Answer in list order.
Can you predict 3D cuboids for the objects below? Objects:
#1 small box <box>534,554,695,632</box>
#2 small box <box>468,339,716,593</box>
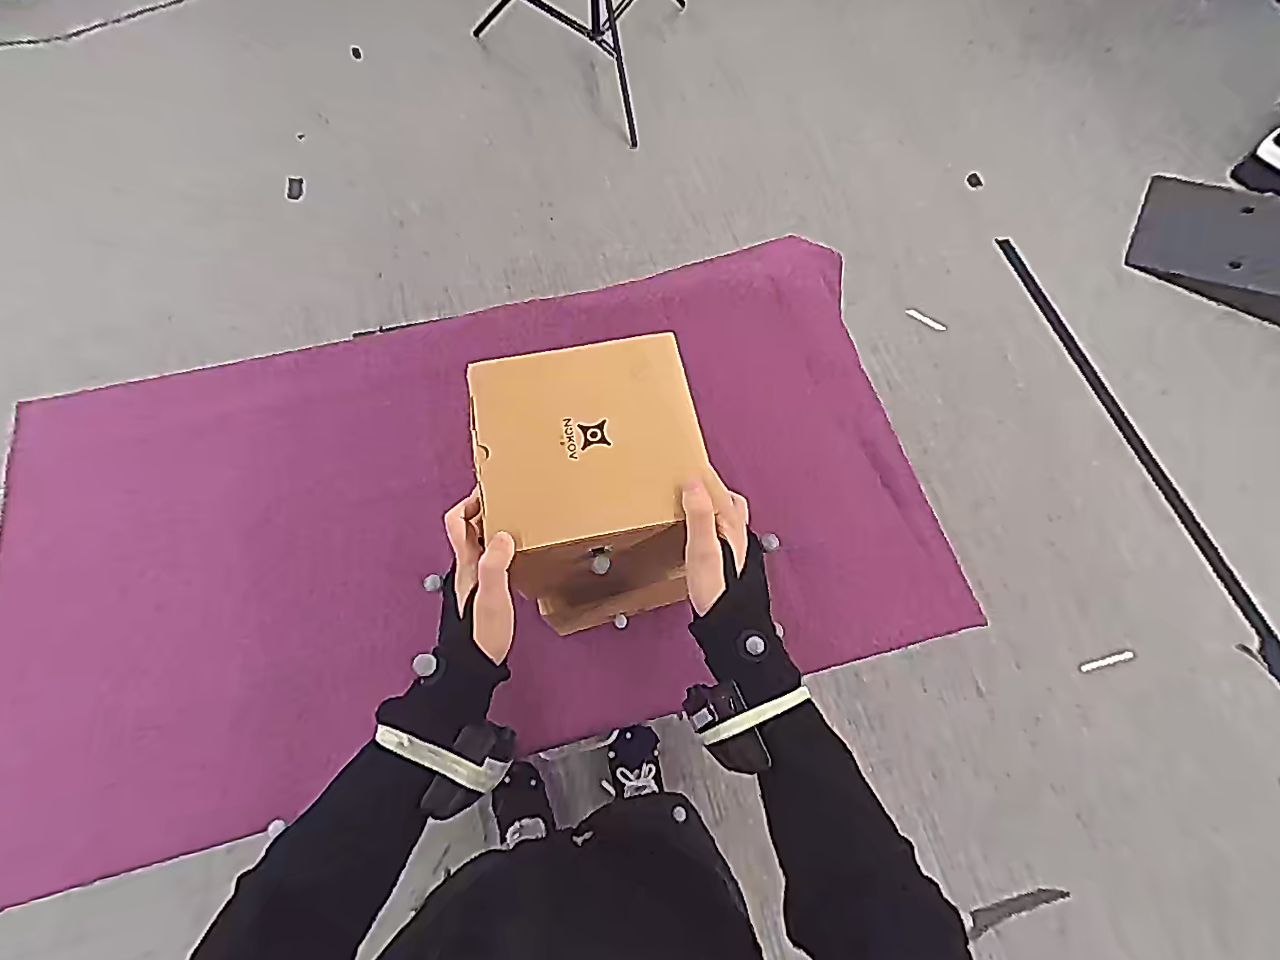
[{"bbox_3d":[-0.046,0.068,0.644,0.168,0.176,0.179,-15,70,-7],"label":"small box"},{"bbox_3d":[-0.044,-0.002,0.497,0.179,0.176,0.168,-11,69,-4],"label":"small box"}]
